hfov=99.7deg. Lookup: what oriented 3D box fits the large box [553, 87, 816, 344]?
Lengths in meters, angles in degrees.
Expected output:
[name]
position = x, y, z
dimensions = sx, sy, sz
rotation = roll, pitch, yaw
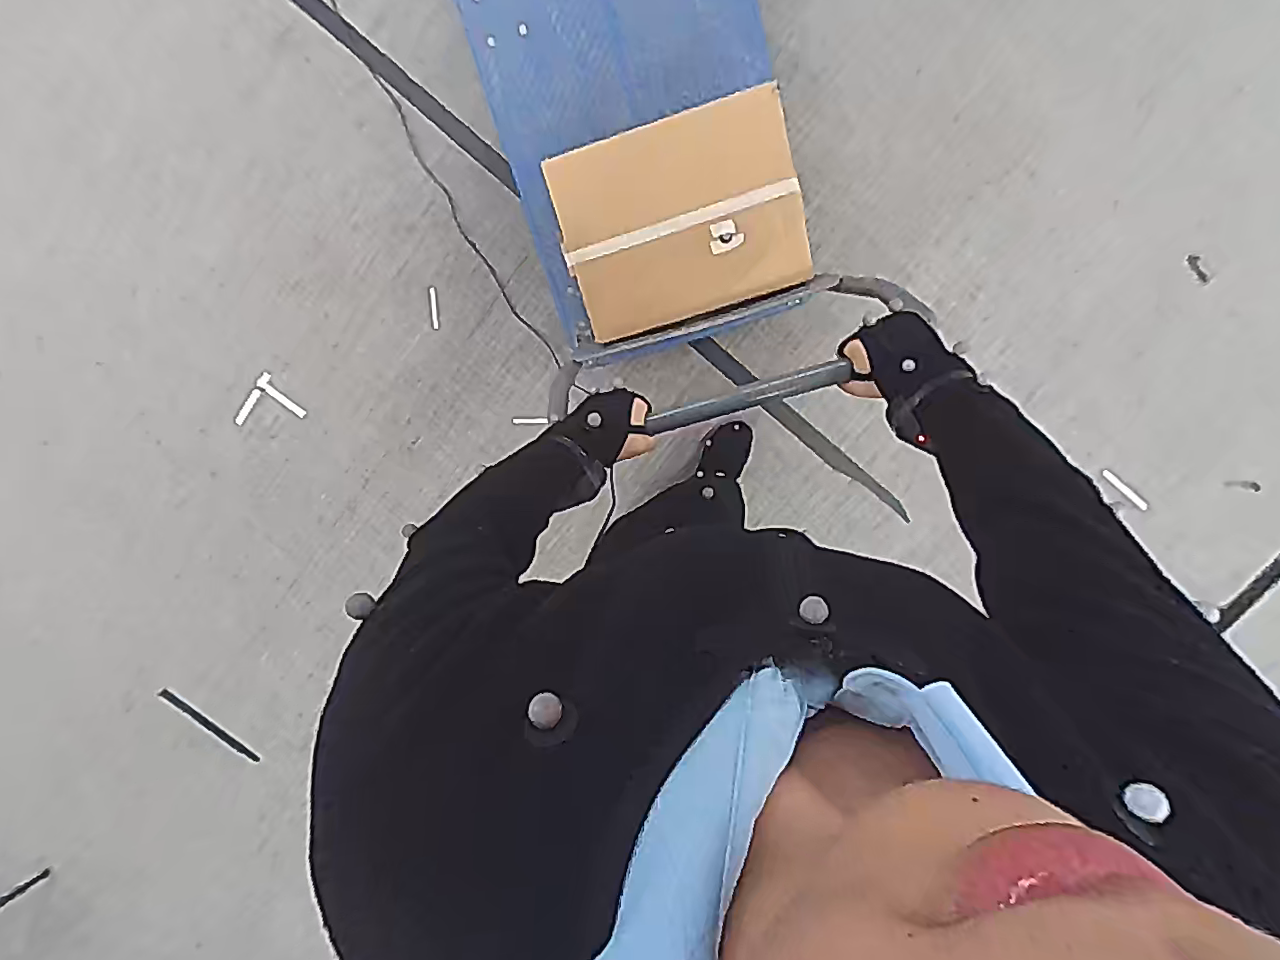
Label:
[large box]
position = 0.083, -0.491, 1.086
dimensions = 0.408, 0.320, 0.320
rotation = -16, 107, 6
